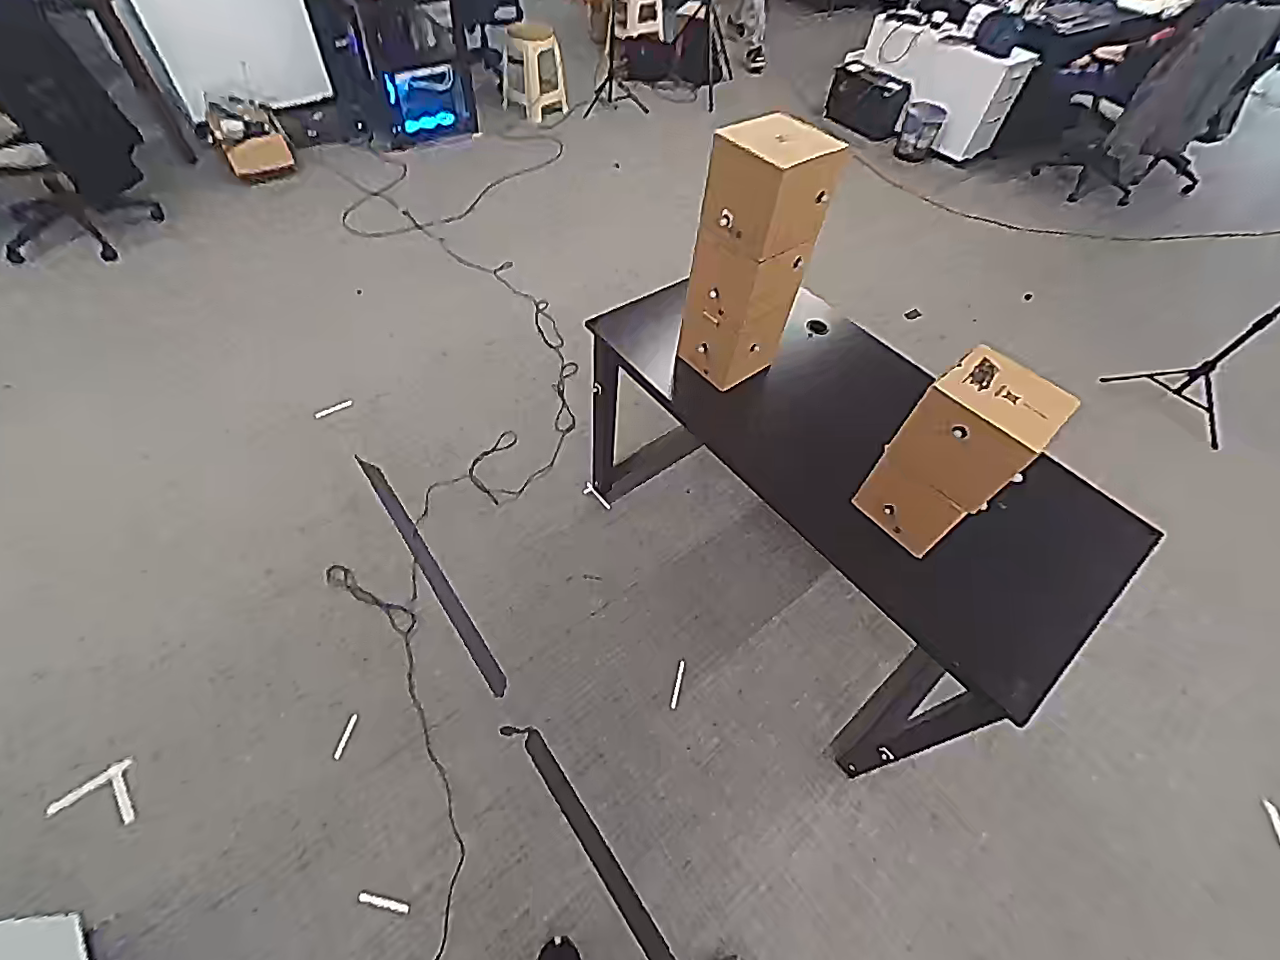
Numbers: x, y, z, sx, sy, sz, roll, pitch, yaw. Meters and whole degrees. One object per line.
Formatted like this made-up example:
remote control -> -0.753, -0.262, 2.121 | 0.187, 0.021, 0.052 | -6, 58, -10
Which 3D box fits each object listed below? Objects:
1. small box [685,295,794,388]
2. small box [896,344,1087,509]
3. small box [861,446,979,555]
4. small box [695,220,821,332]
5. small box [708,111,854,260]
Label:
small box -> 0.220, -0.343, 1.252 | 0.179, 0.176, 0.168 | -33, 63, -25
small box -> 0.566, -0.086, 0.893 | 0.168, 0.176, 0.179 | -35, 65, -26
small box -> 0.558, 0.008, 1.028 | 0.179, 0.176, 0.168 | -31, 62, -24
small box -> 0.234, -0.441, 1.120 | 0.179, 0.176, 0.168 | -32, 62, -25
small box -> 0.246, -0.536, 0.988 | 0.179, 0.176, 0.168 | -32, 62, -25
